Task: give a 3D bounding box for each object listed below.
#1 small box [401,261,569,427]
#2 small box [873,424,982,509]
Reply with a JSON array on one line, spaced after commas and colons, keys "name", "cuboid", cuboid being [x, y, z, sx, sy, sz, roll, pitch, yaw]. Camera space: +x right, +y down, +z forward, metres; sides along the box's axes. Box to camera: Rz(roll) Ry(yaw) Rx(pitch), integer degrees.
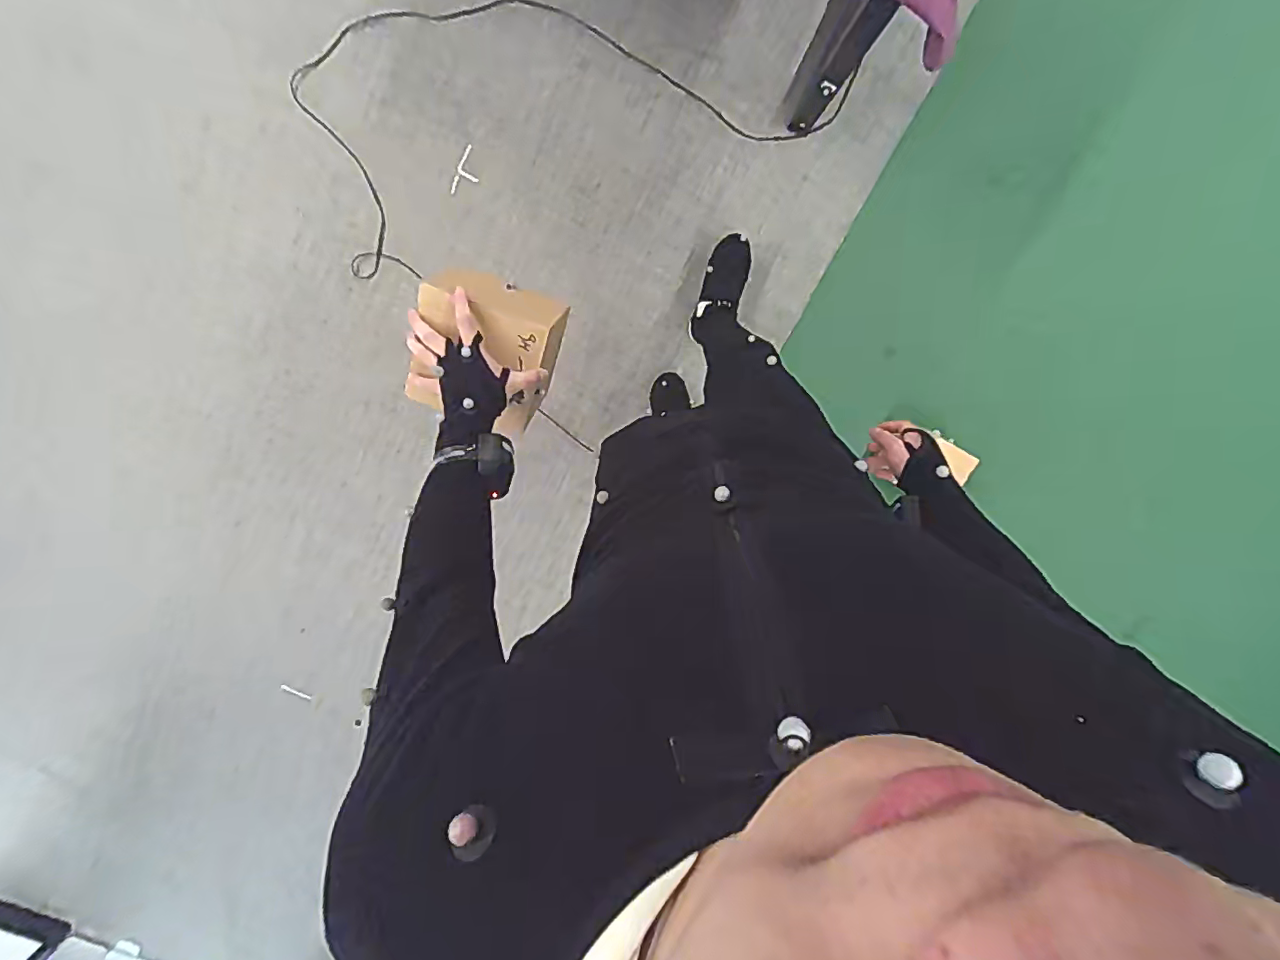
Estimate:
[{"name": "small box", "cuboid": [-0.219, -0.207, 0.791, 0.179, 0.176, 0.168, 19, 120, -6]}, {"name": "small box", "cuboid": [0.798, -0.047, 1.524, 0.179, 0.176, 0.168, 27, 103, -7]}]
